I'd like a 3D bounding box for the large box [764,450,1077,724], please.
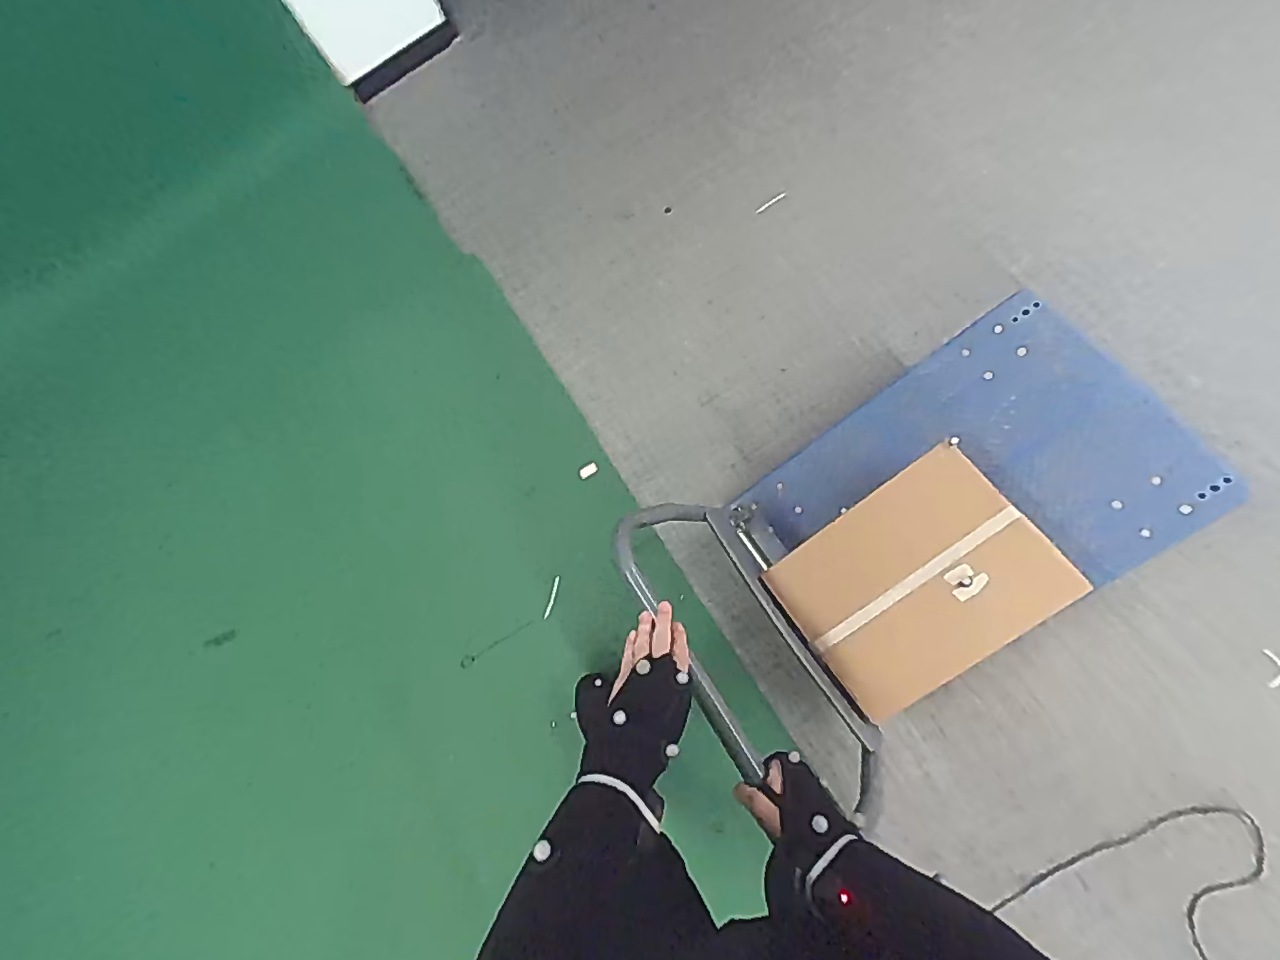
[{"bbox_3d":[0.516,0.207,1.079,0.408,0.320,0.320,-39,72,11],"label":"large box"}]
